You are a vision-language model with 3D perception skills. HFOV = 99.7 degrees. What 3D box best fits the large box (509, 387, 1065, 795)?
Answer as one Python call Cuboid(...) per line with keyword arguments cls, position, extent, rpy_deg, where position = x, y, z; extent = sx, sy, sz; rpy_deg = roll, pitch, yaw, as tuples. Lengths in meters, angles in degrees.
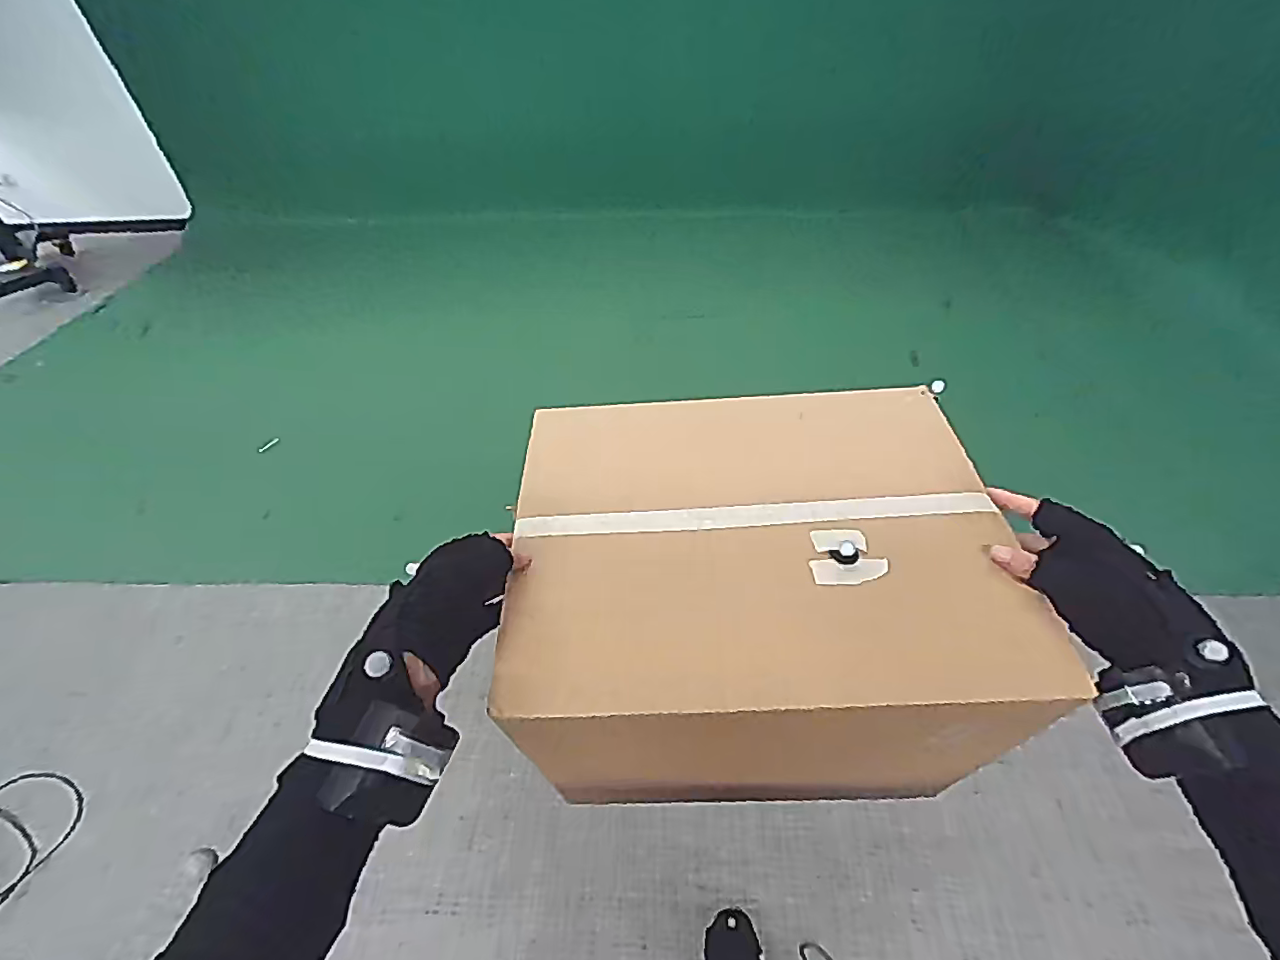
Cuboid(cls="large box", position=(0.105, 0.130, 0.589), extent=(0.408, 0.320, 0.320), rpy_deg=(-4, 50, 2))
